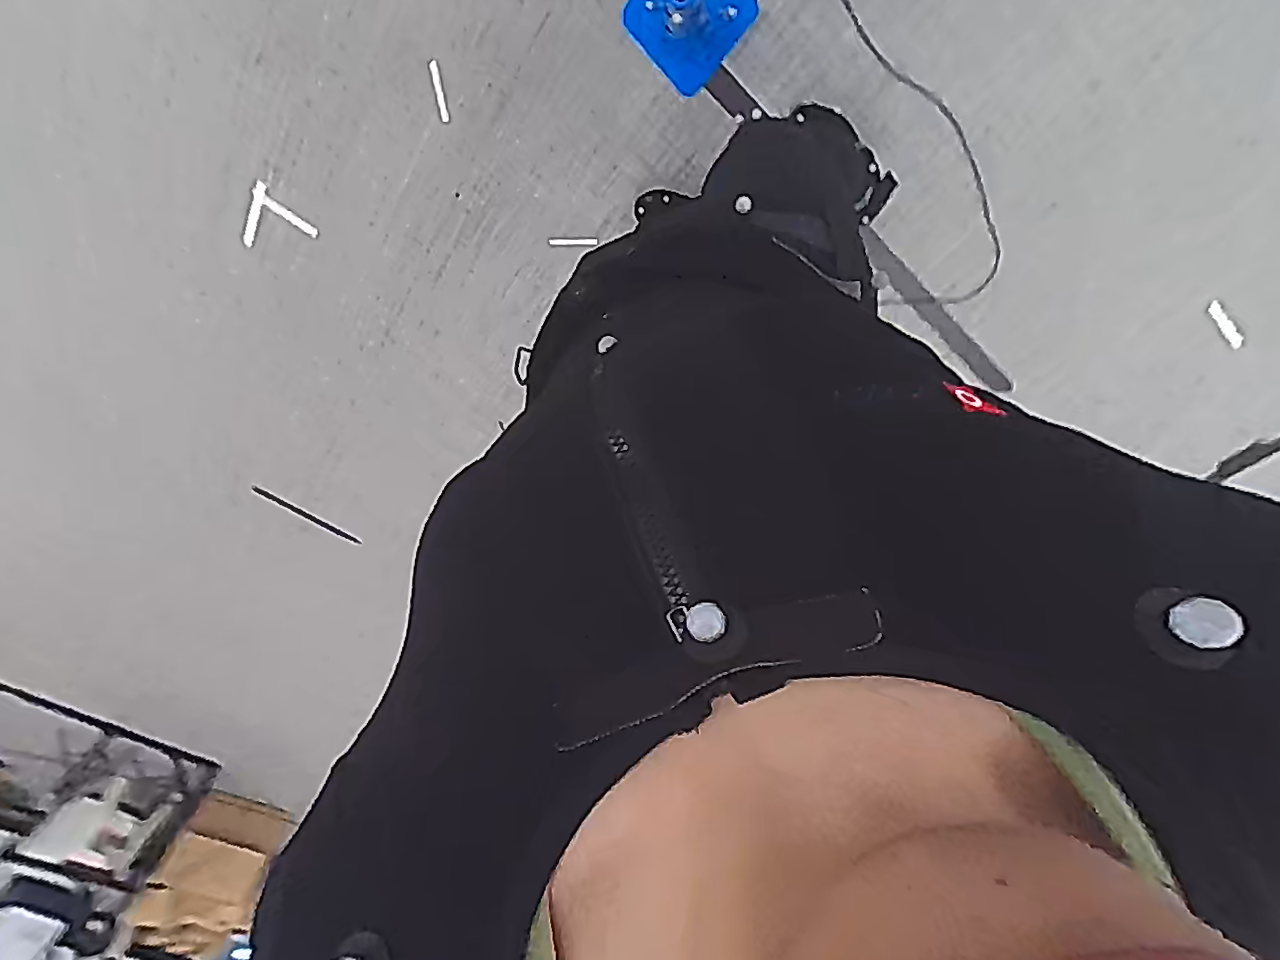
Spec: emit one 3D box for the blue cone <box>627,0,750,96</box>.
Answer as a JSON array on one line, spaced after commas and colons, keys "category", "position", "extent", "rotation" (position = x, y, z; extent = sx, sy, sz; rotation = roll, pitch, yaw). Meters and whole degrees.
[{"category": "blue cone", "position": [0.074, -0.778, 0.884], "extent": [0.192, 0.380, 0.193], "rotation": [38, 121, -19]}]
